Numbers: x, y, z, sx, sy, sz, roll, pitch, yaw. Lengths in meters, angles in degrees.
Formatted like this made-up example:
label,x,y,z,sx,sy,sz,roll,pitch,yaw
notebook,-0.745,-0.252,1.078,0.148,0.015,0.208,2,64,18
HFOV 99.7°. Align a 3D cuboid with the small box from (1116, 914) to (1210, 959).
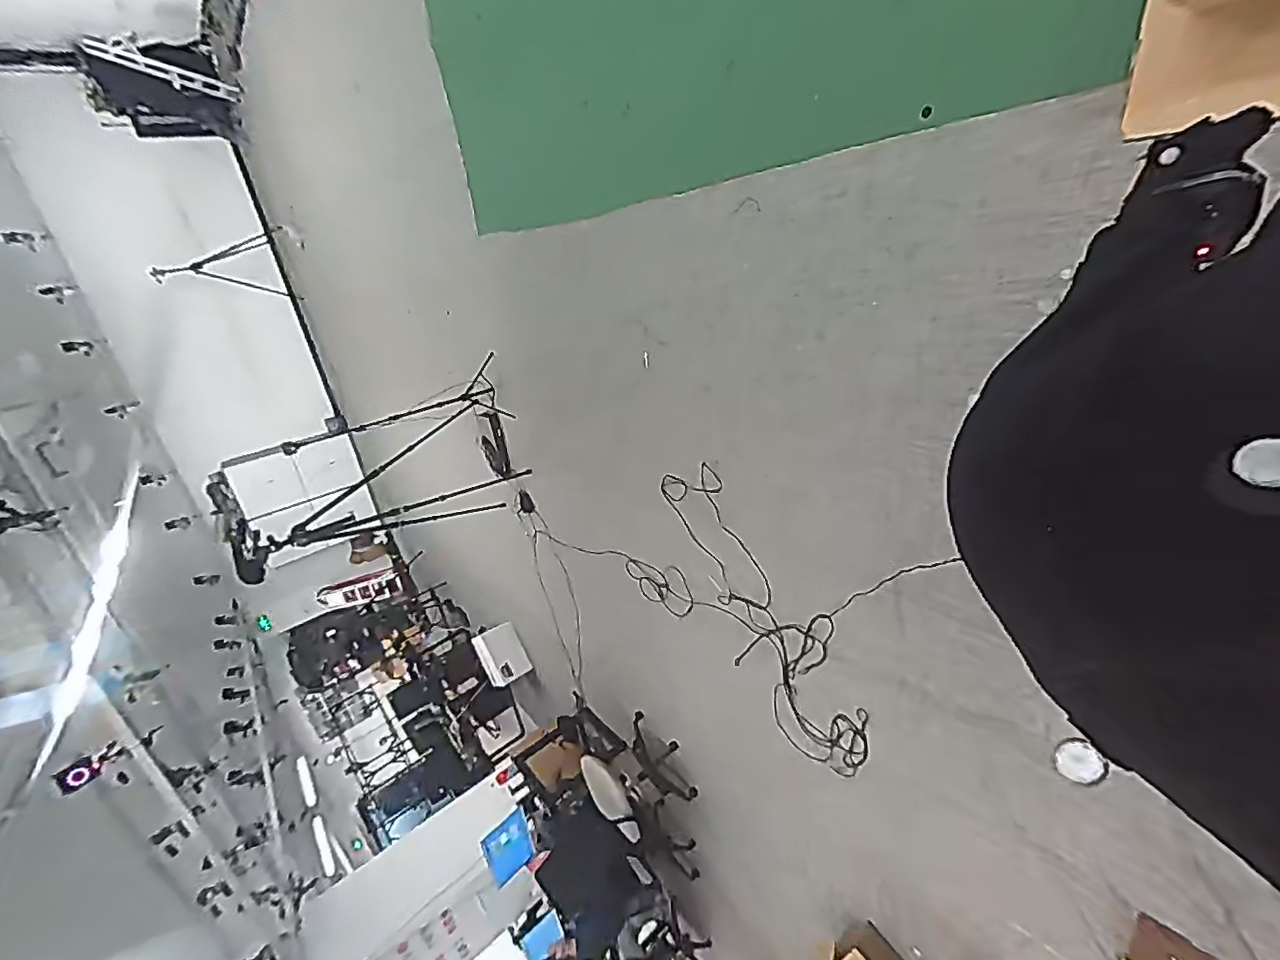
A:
label,x,y,z,sx,sy,sz,roll,pitch,yaw
small box,1.435,1.356,1.483,0.168,0.176,0.179,26,130,45
